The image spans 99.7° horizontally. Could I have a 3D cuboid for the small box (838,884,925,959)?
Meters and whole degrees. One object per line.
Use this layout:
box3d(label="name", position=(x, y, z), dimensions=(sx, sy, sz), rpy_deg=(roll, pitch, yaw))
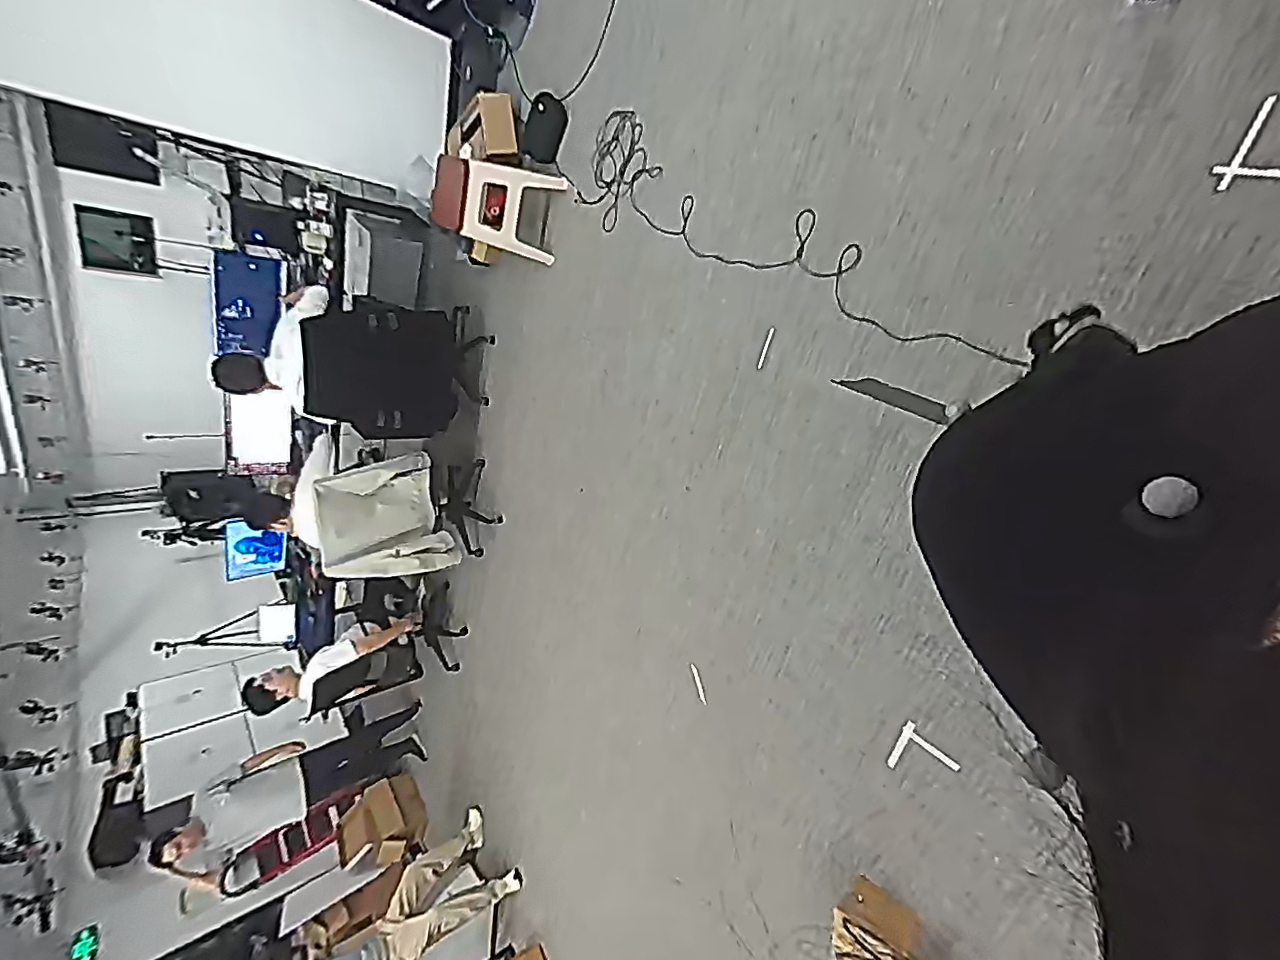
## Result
box3d(label="small box", position=(0.713, 1.348, 1.596), dimensions=(0.179, 0.176, 0.168), rpy_deg=(11, 104, 46))
